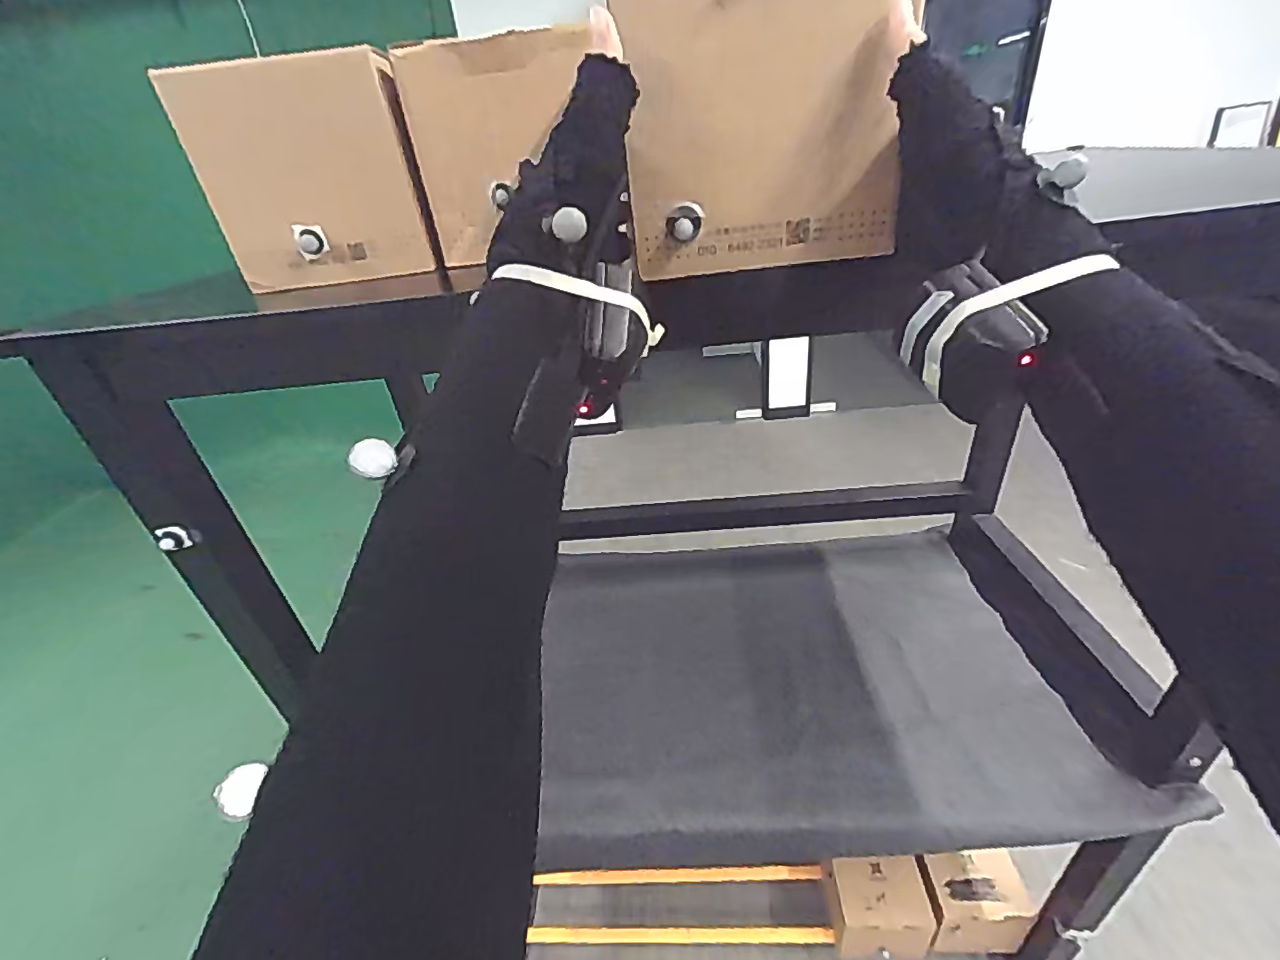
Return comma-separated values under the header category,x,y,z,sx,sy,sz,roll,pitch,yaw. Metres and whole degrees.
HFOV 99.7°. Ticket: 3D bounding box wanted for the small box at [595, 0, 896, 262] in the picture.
category,x,y,z,sx,sy,sz,roll,pitch,yaw
small box,0.069,-0.258,0.383,0.168,0.176,0.179,-4,30,6
